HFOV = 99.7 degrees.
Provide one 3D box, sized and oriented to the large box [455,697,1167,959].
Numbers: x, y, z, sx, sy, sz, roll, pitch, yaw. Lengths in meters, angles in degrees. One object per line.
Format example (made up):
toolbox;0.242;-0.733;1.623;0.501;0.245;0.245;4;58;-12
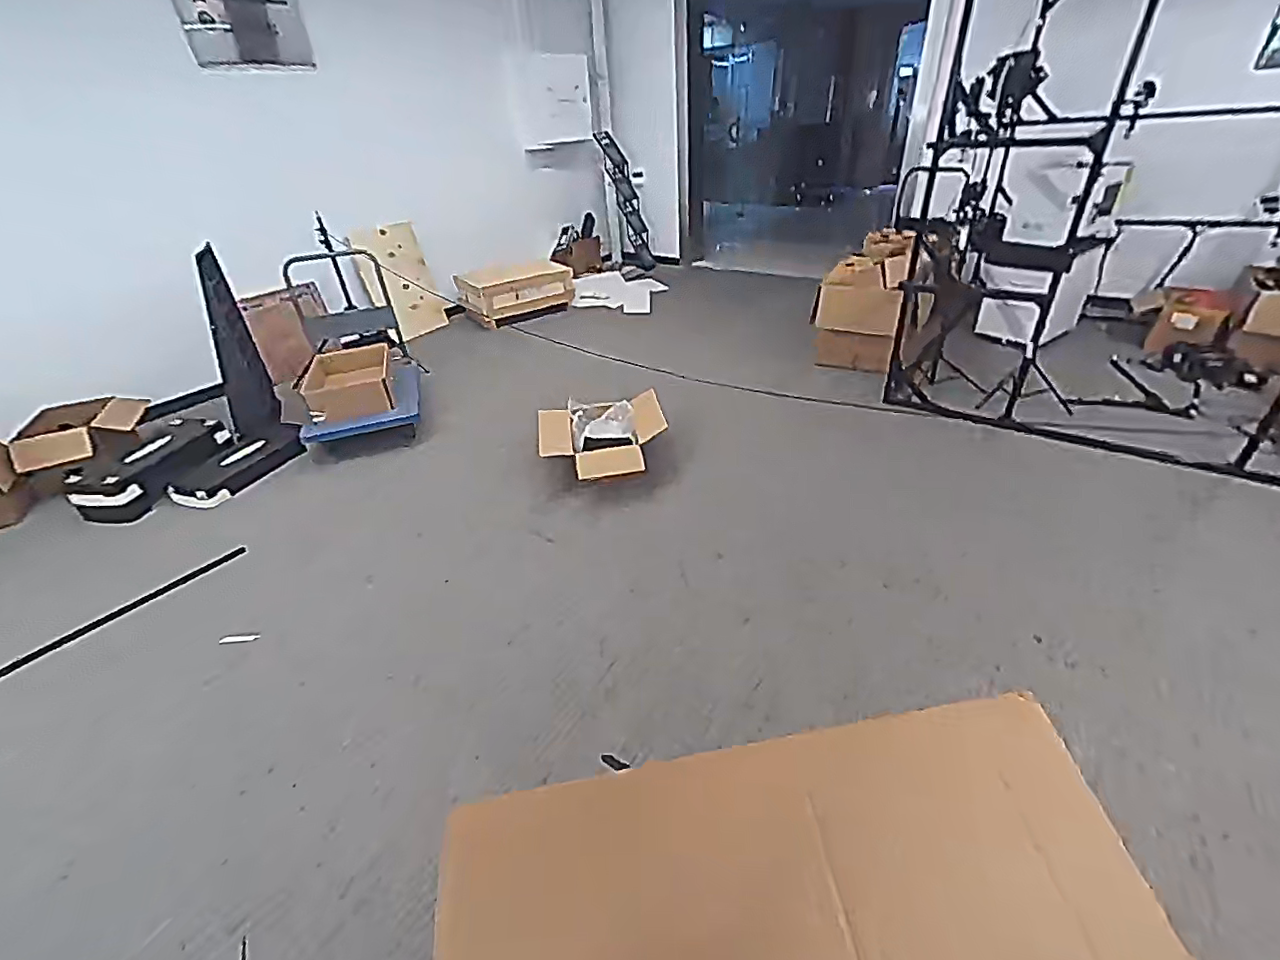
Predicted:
large box;0.111;0.399;0.405;0.408;0.320;0.320;-12;54;0
